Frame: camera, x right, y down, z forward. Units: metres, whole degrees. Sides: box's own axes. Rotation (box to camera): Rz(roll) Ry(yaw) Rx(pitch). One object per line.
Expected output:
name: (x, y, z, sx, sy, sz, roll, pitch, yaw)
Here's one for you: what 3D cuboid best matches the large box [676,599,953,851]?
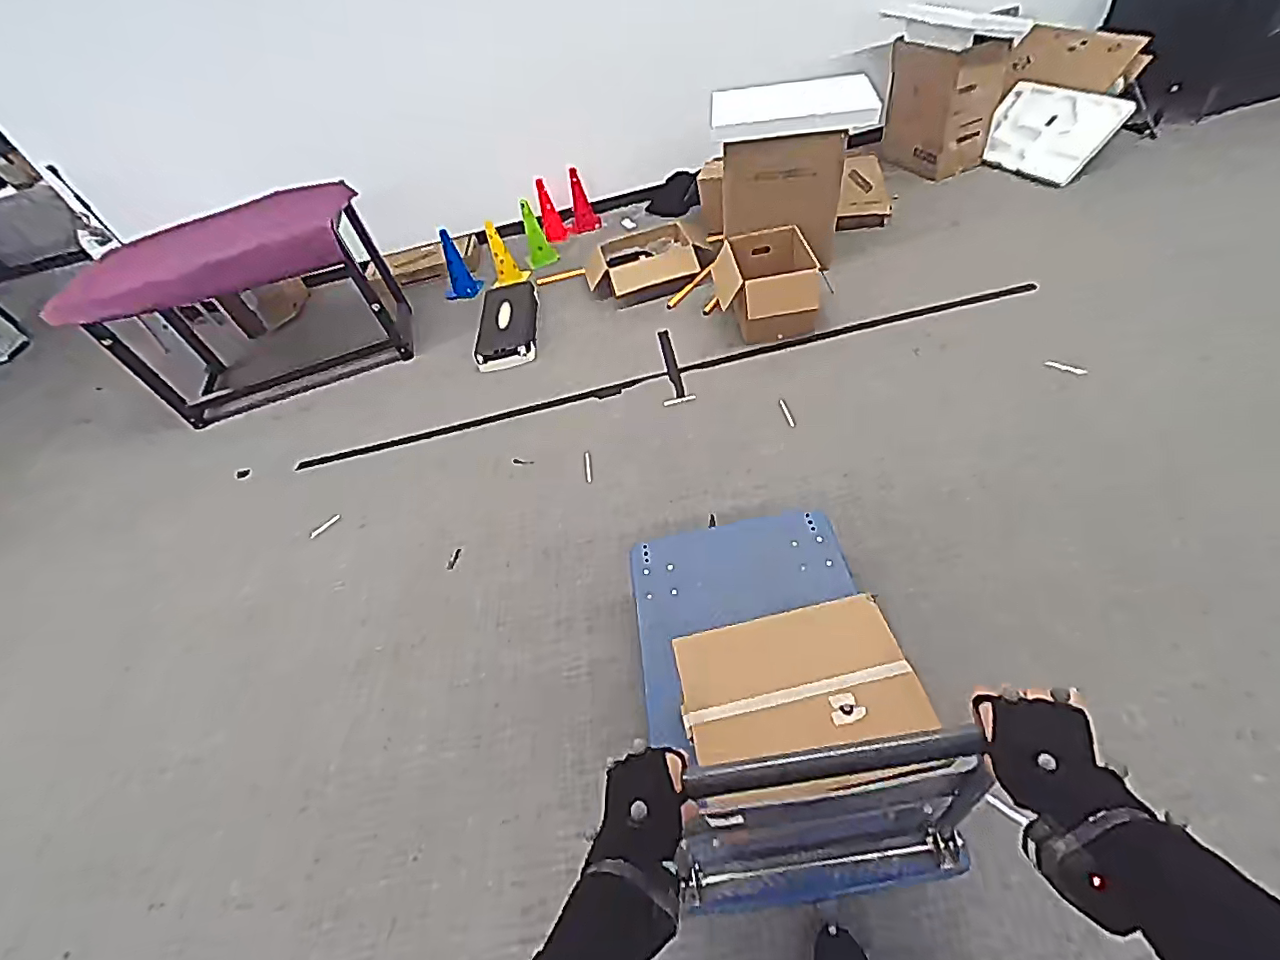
large box: (0.310, 0.489, 1.075, 0.408, 0.320, 0.320, -13, 48, 0)
